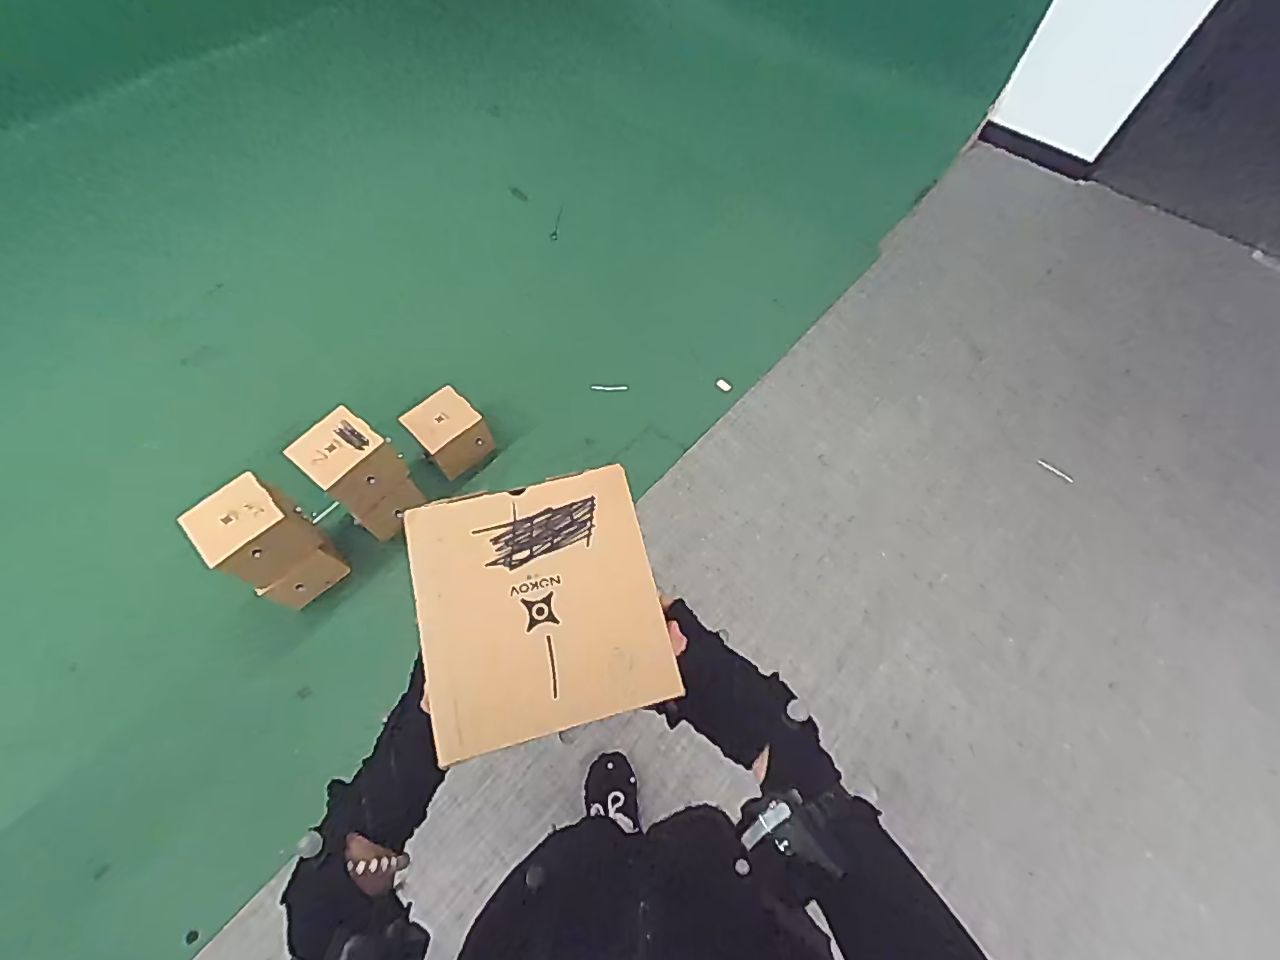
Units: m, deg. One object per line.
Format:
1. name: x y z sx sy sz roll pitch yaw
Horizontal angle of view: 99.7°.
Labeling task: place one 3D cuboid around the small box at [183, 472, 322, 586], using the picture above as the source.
1. small box: -0.901 0.121 1.272 0.179 0.176 0.168 -41 70 -19

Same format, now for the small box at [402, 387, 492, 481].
1. small box: -0.556 -0.132 1.592 0.179 0.176 0.168 -41 70 -19

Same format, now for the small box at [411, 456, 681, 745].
1. small box: -0.077 0.104 0.456 0.168 0.176 0.179 -12 71 -9

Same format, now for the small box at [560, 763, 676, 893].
1. small box: -0.051 0.741 1.170 0.179 0.176 0.168 24 76 29

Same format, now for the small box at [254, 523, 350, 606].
1. small box: -0.900 0.209 1.412 0.168 0.176 0.179 -40 69 -18
